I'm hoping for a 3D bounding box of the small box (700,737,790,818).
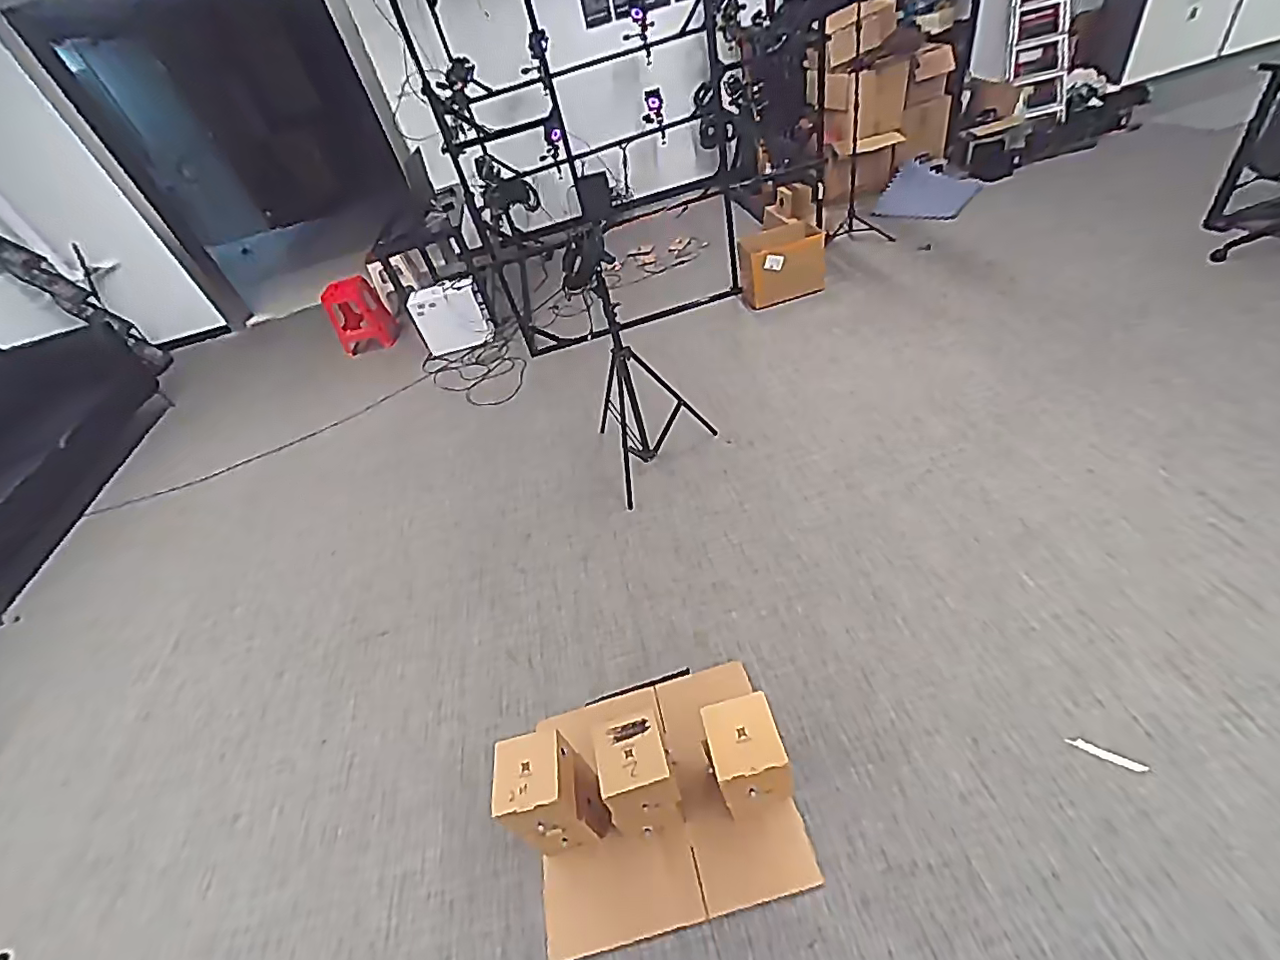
[{"bbox_3d":[0.281,0.757,1.430,0.179,0.176,0.168,-23,43,-7],"label":"small box"}]

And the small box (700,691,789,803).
[{"bbox_3d":[0.252,0.648,1.312,0.168,0.176,0.179,-16,43,0],"label":"small box"}]

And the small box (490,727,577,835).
[{"bbox_3d":[-0.262,0.757,1.358,0.168,0.176,0.179,-16,42,3],"label":"small box"}]

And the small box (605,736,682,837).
[{"bbox_3d":[0.009,0.822,1.449,0.168,0.176,0.179,-14,42,2],"label":"small box"}]

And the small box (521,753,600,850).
[{"bbox_3d":[-0.214,0.876,1.463,0.168,0.176,0.179,-16,43,2],"label":"small box"}]
